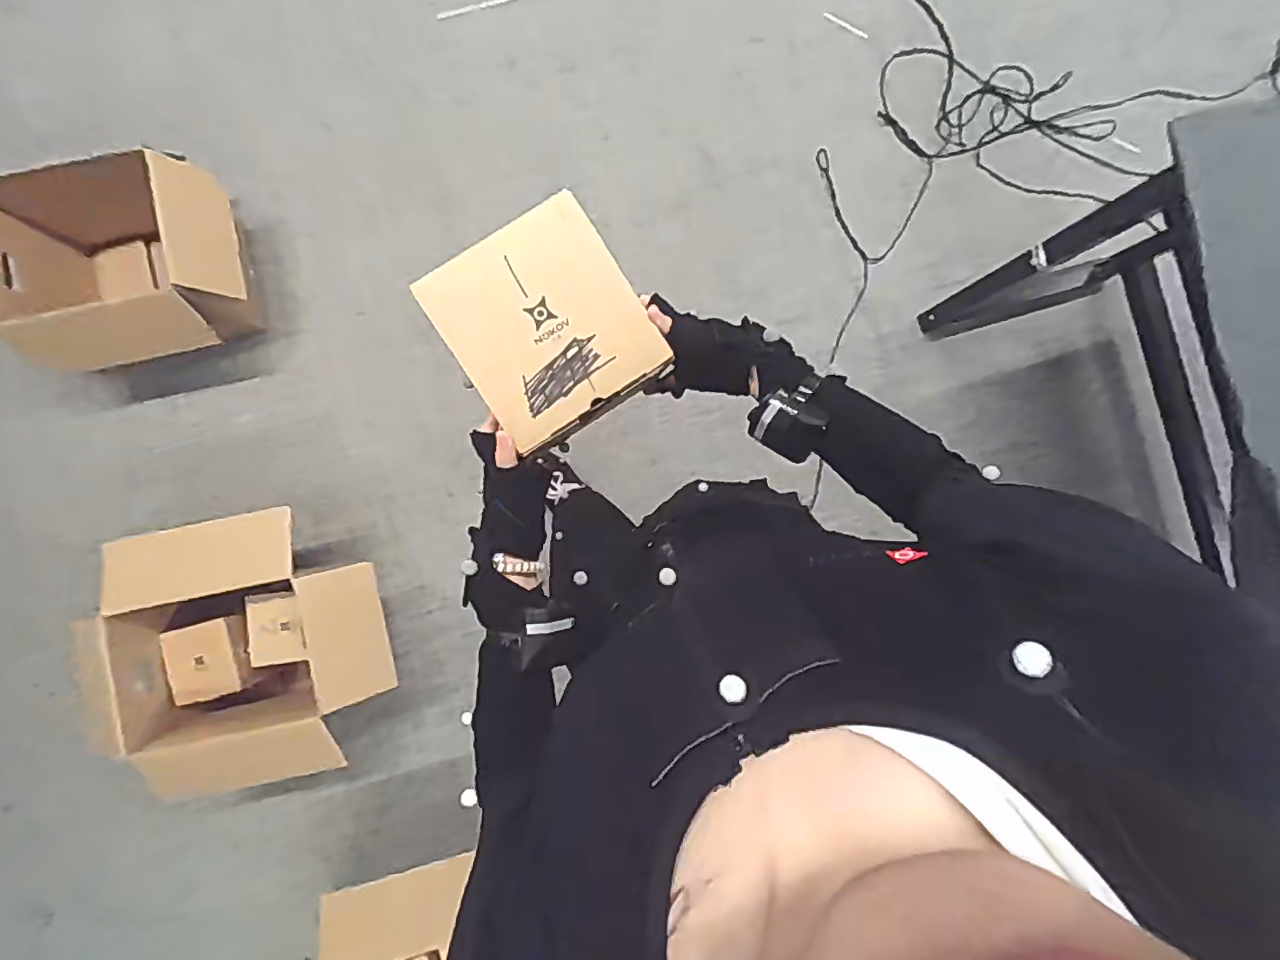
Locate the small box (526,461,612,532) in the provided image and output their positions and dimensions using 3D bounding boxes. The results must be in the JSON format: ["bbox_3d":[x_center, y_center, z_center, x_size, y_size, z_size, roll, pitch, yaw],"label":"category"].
[{"bbox_3d":[-0.184,0.040,1.416,0.179,0.176,0.168,0,97,15],"label":"small box"}]

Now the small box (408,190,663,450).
[{"bbox_3d":[-0.096,-0.146,0.558,0.168,0.176,0.179,-33,94,-3],"label":"small box"}]
